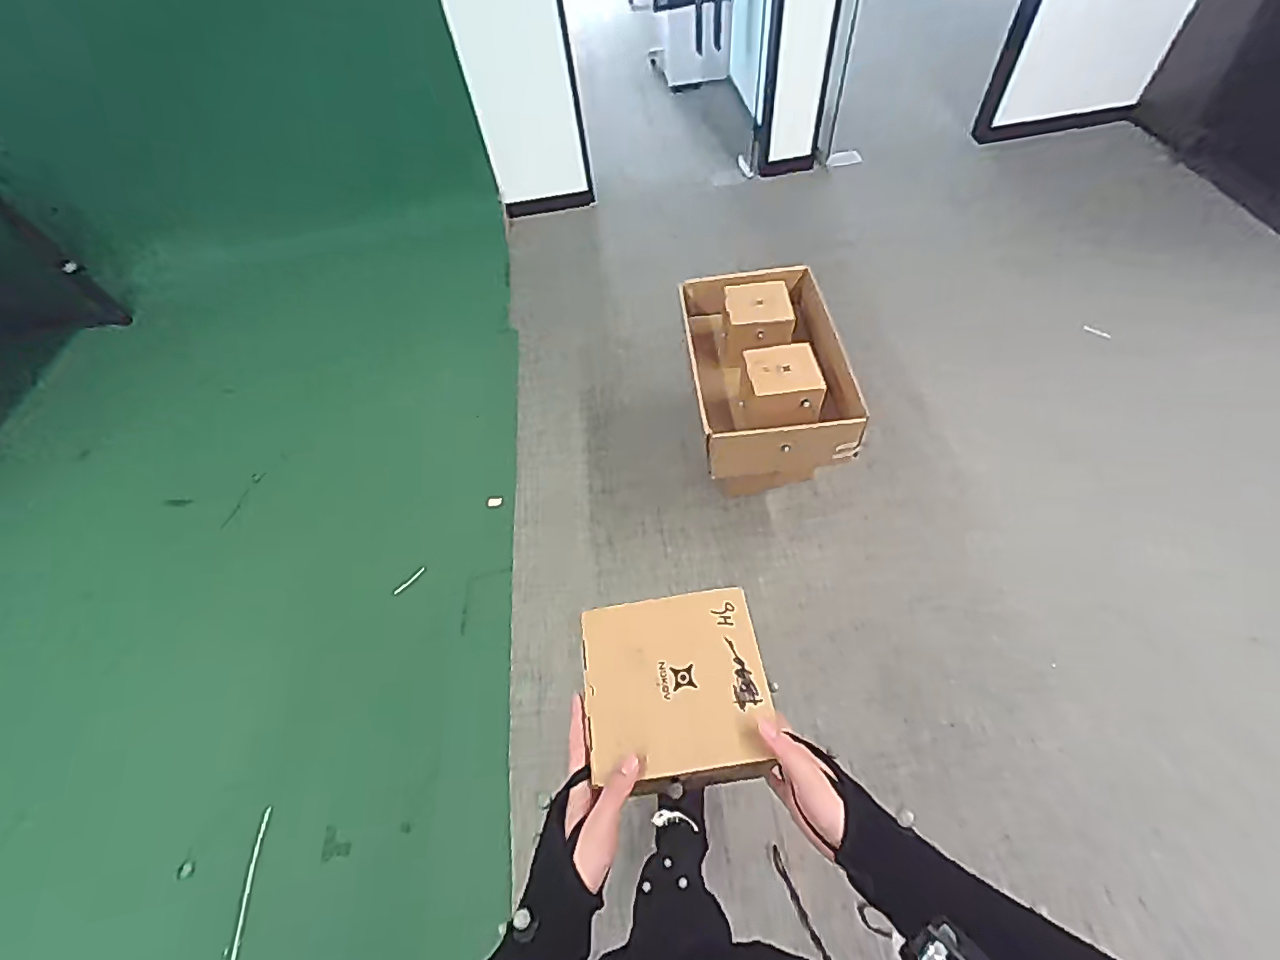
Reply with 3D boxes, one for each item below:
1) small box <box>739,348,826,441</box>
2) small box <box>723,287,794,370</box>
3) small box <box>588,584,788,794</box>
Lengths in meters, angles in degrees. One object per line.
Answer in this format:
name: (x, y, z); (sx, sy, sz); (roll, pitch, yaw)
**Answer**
small box: (0.367, -0.222, 1.422); (0.179, 0.176, 0.168); (-7, 55, 1)
small box: (0.336, -0.438, 1.577); (0.179, 0.176, 0.168); (-3, 56, 2)
small box: (0.046, 0.233, 0.588); (0.179, 0.176, 0.168); (-8, 55, 0)
